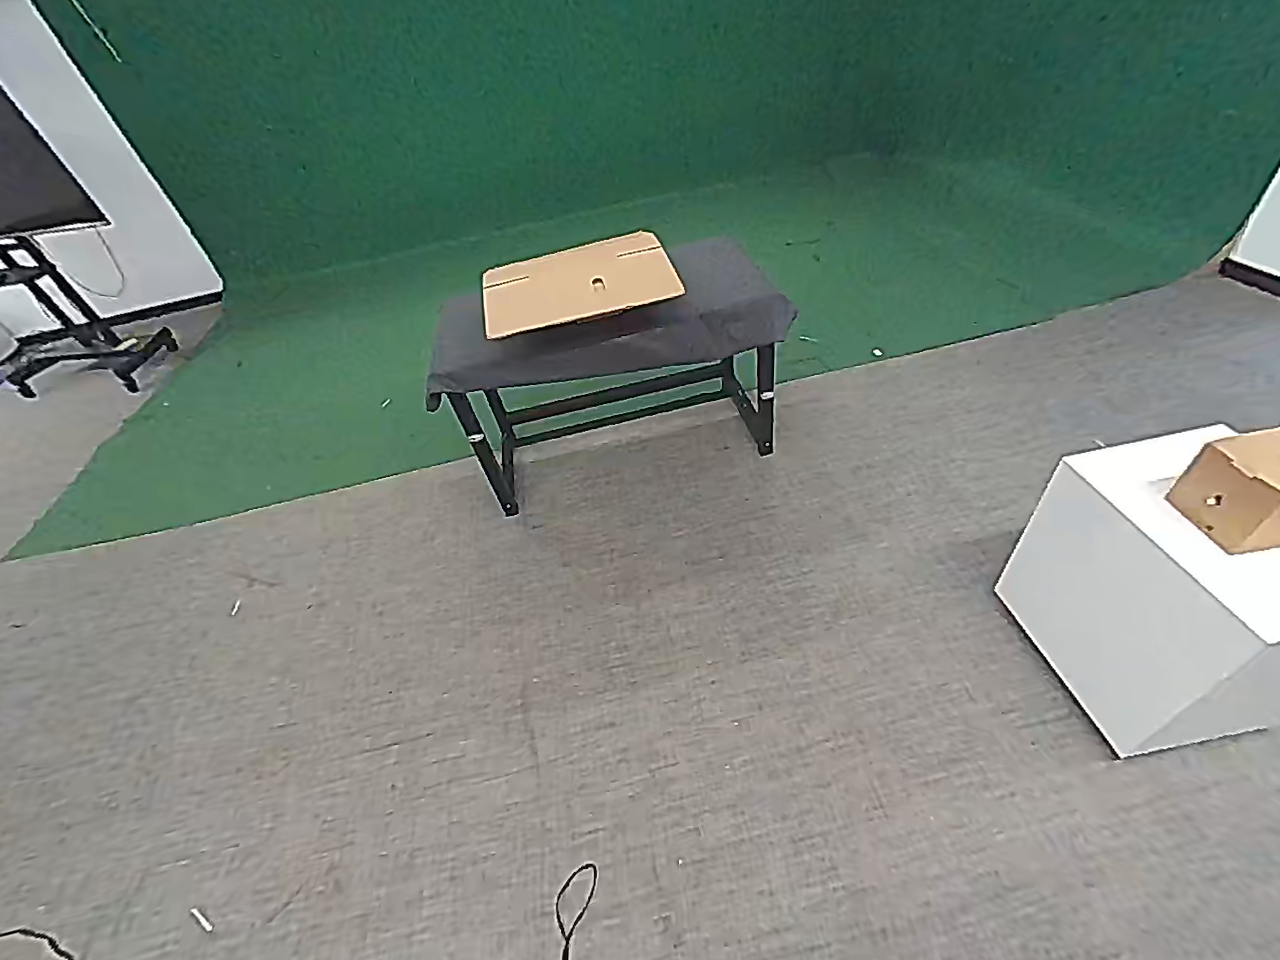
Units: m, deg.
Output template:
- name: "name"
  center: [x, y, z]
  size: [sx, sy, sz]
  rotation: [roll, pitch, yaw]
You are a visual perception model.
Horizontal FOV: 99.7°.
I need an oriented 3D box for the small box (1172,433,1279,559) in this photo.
- name: "small box"
  center: [1.220, 0.035, 1.068]
  size: [0.179, 0.176, 0.168]
  rotation: [-11, 42, -1]
